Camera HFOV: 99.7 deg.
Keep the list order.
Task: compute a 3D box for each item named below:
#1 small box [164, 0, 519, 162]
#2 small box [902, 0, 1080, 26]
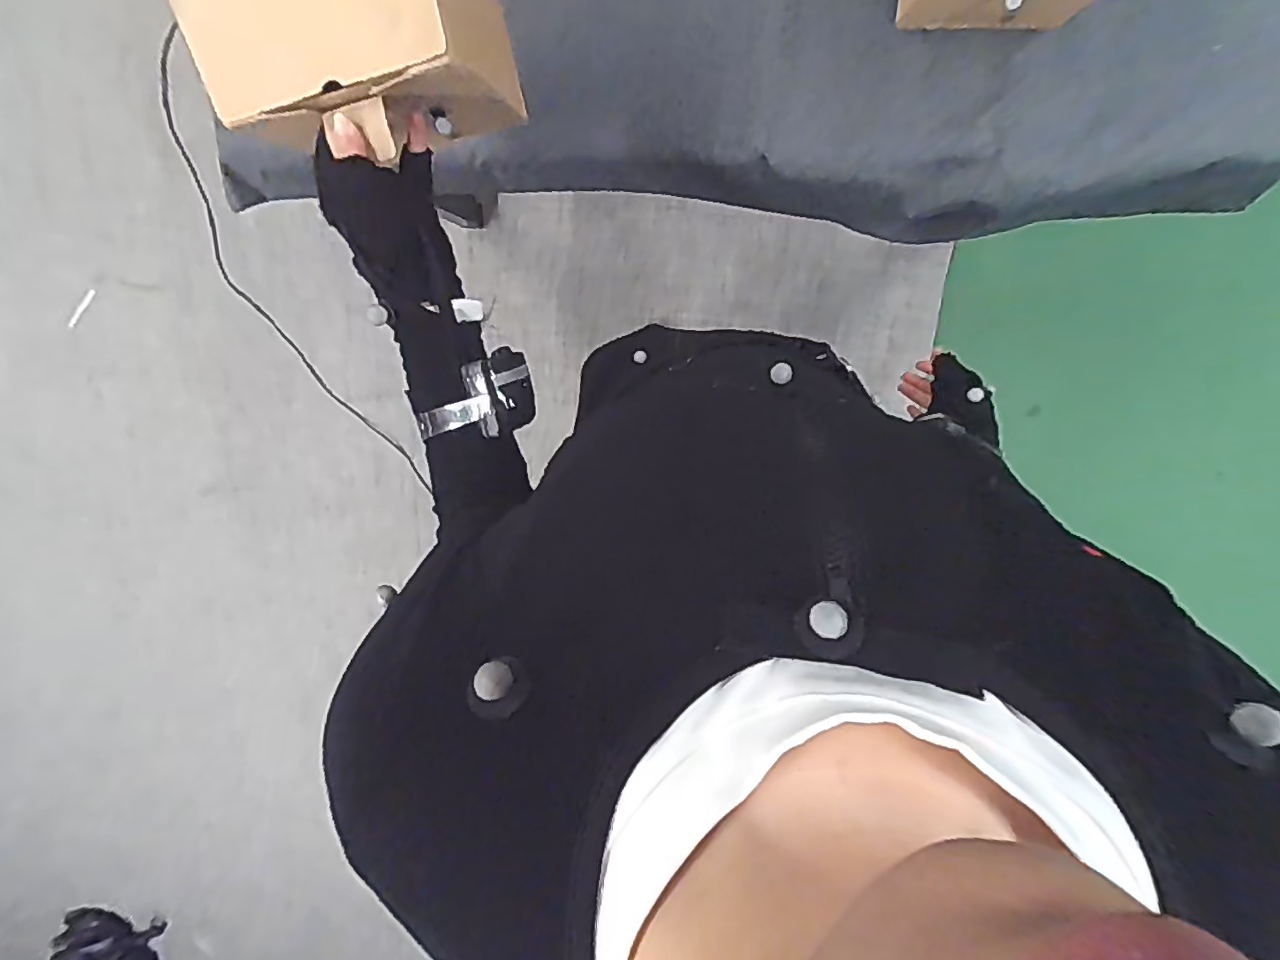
[{"bbox_3d":[-0.202,-0.346,0.383,0.168,0.176,0.179,-10,109,9],"label":"small box"},{"bbox_3d":[0.344,-0.527,0.461,0.168,0.176,0.179,2,107,2],"label":"small box"}]
